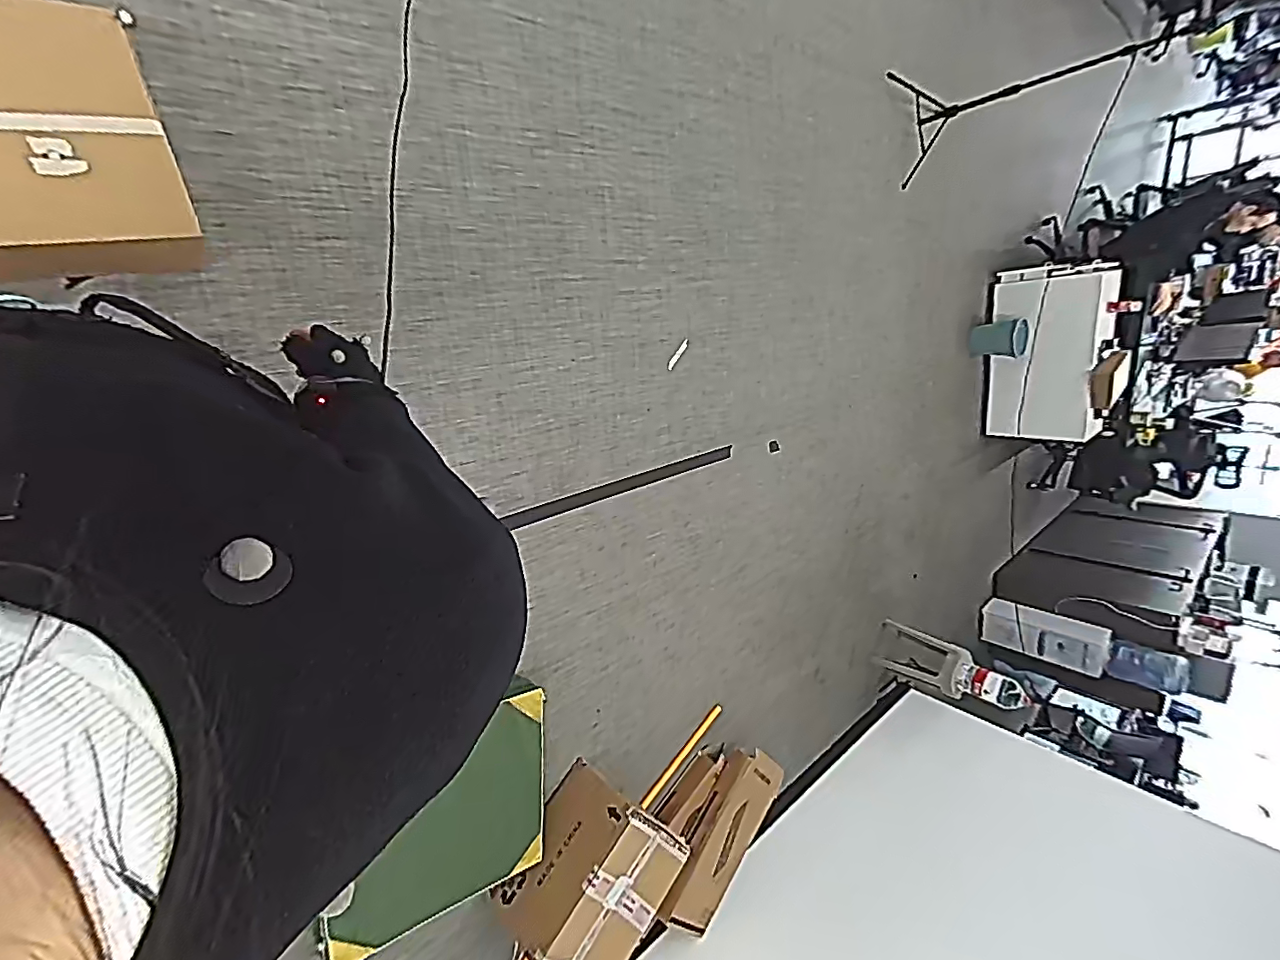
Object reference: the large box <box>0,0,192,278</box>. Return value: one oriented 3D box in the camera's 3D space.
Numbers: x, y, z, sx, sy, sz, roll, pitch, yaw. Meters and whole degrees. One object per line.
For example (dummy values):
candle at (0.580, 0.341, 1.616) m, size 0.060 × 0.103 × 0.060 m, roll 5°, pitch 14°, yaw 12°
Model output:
large box at (-1.005, -0.509, 0.843) m, size 0.408 × 0.320 × 0.320 m, roll -22°, pitch 112°, yaw -35°
